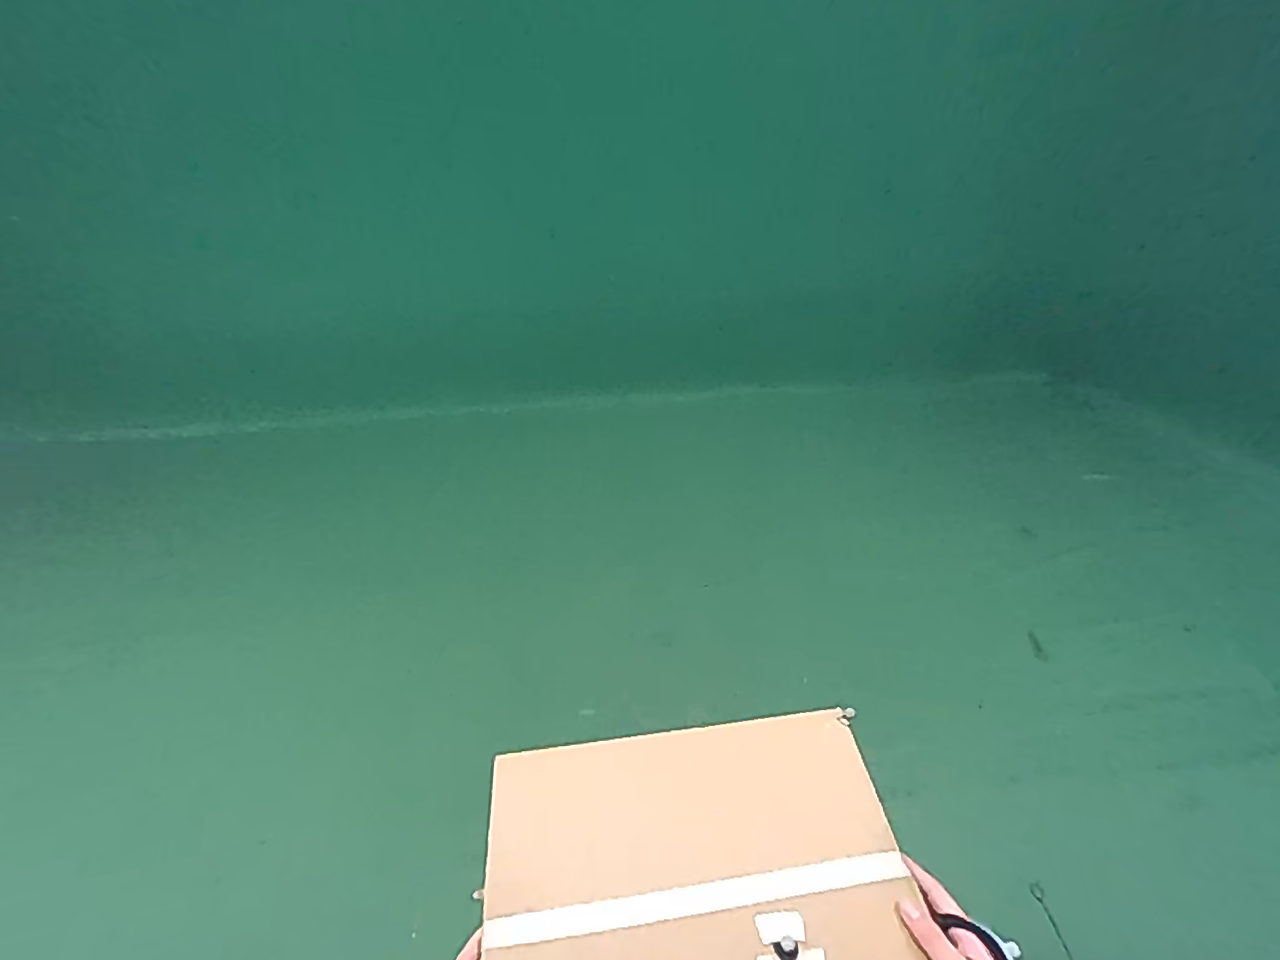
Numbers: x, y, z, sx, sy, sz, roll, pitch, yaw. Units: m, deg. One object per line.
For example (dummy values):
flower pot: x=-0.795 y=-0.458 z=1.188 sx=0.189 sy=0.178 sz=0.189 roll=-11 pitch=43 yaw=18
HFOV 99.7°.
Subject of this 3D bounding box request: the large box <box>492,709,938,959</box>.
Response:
large box: x=0.059 y=0.510 z=0.617 sx=0.408 sy=0.320 sz=0.320 roll=-6 pitch=42 yaw=-5
